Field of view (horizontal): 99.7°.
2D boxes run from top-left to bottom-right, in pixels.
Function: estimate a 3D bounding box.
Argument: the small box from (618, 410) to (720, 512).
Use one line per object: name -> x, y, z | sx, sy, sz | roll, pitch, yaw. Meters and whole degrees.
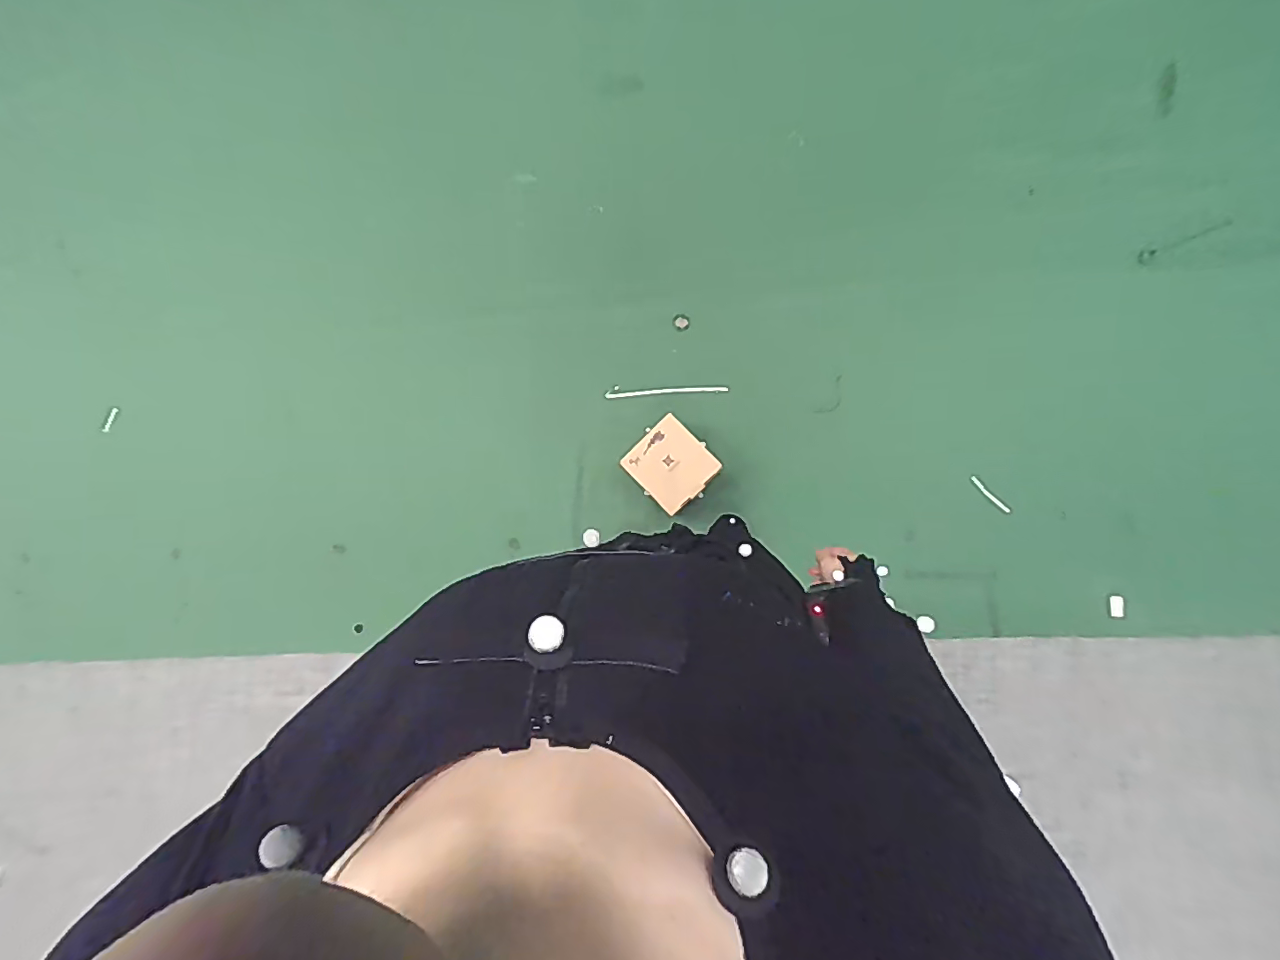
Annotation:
small box -> 0.074, -0.043, 1.297 | 0.168, 0.176, 0.179 | -44, 85, 3
